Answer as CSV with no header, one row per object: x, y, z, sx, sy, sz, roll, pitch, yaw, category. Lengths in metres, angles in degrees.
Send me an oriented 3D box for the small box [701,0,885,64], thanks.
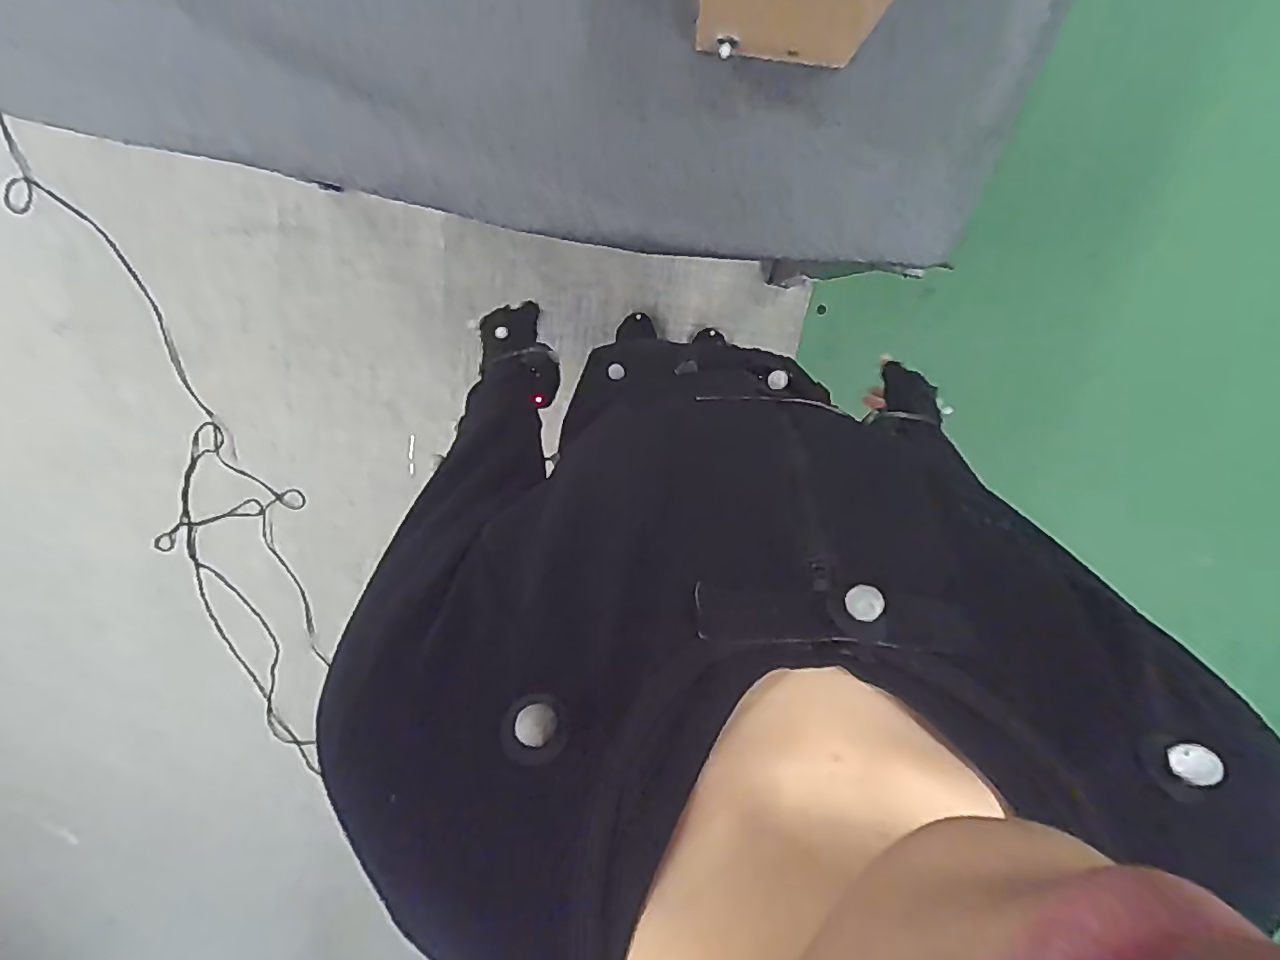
0.149,-0.511,0.481,0.168,0.176,0.179,8,106,1,small box

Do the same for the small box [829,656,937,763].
0.599,0.569,1.361,0.179,0.176,0.168,13,110,-1,small box
